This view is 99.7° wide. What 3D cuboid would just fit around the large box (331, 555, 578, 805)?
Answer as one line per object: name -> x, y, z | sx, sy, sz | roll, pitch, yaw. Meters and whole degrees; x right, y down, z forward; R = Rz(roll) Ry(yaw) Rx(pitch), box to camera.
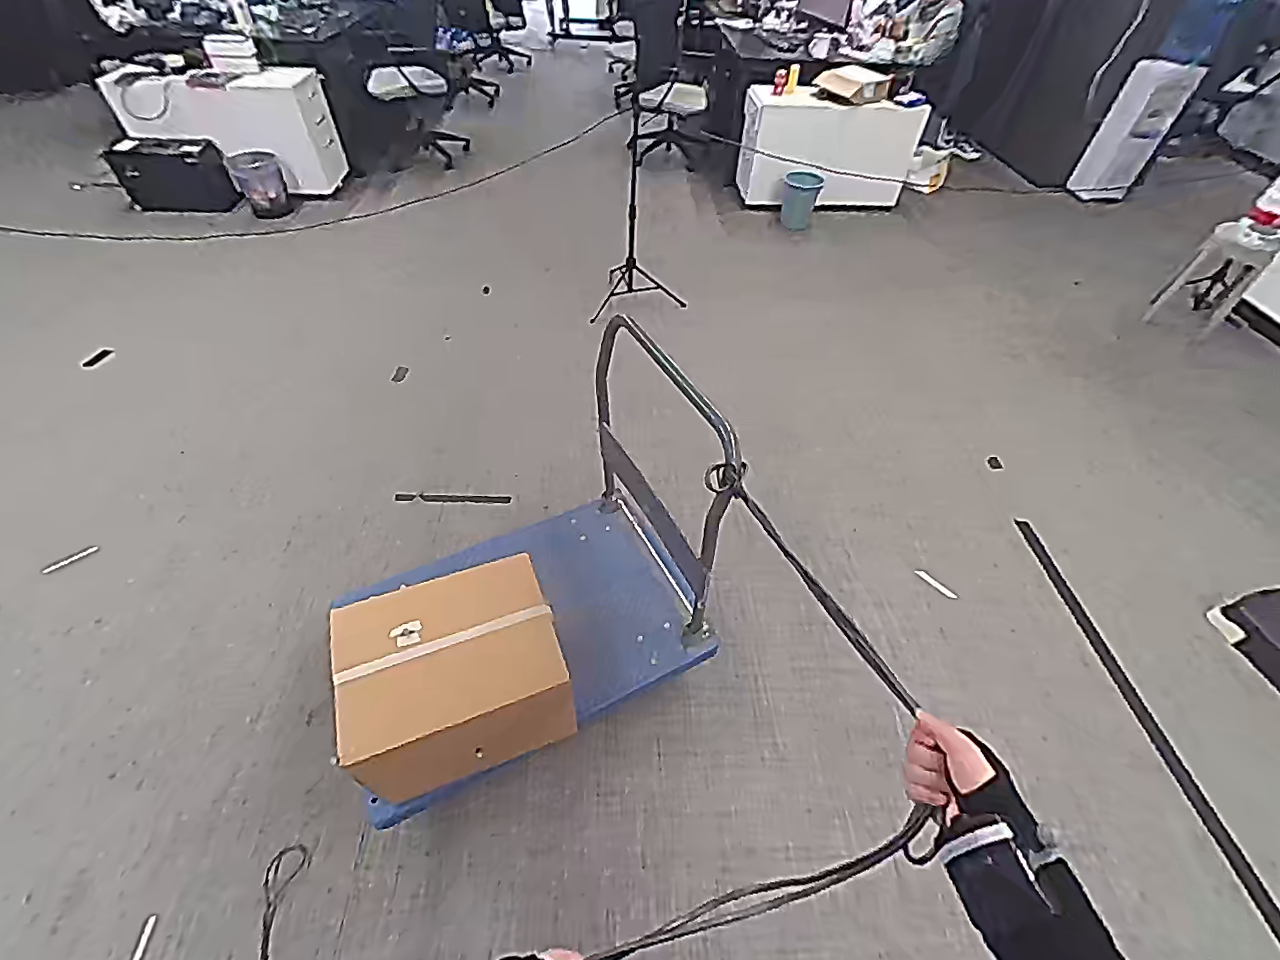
large box -> -0.376, 0.420, 1.149 | 0.408, 0.320, 0.320 | -17, 51, -16
